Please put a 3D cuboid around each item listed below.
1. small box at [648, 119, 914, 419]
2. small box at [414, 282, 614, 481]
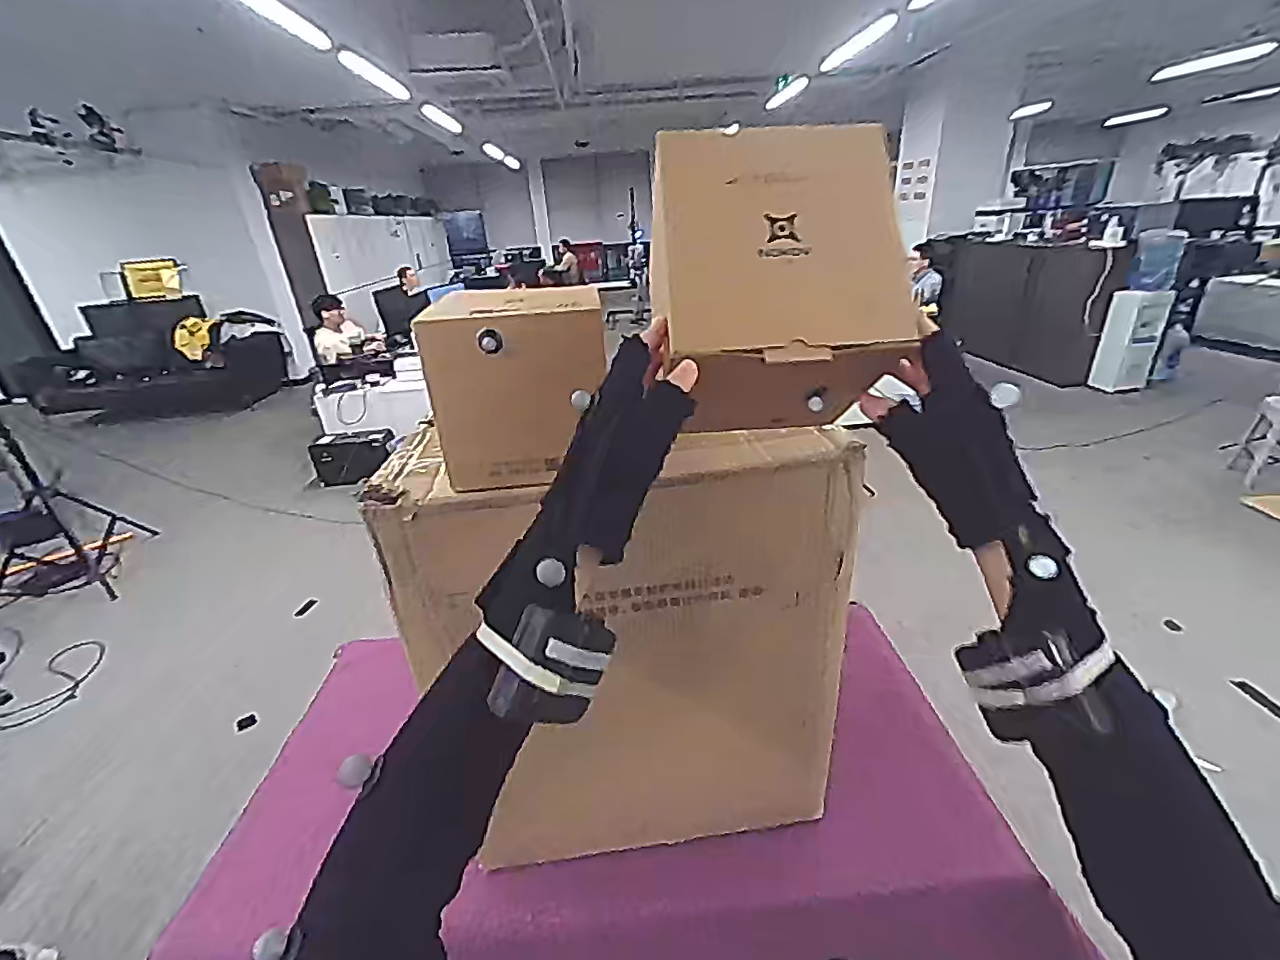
[{"bbox_3d":[0.094,-0.157,0.452,0.168,0.179,0.176,-3,-16,-3],"label":"small box"},{"bbox_3d":[-0.117,-0.111,0.575,0.168,0.176,0.179,-5,26,-4],"label":"small box"}]
